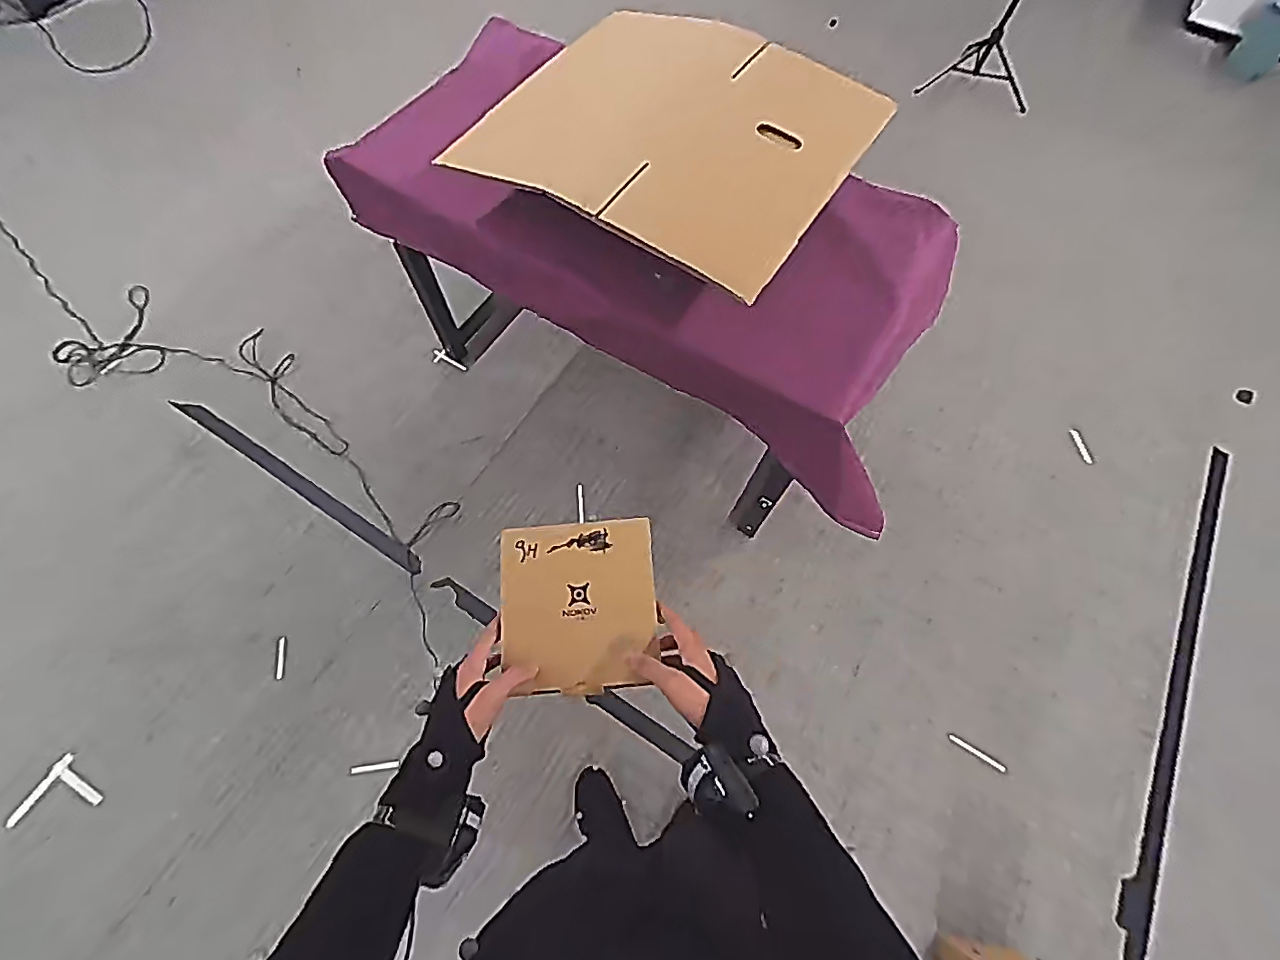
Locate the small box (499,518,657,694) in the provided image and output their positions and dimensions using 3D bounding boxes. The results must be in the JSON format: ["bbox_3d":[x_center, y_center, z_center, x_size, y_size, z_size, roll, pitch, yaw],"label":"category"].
[{"bbox_3d":[-0.066,0.154,0.652,0.168,0.176,0.179,-5,72,0],"label":"small box"}]
